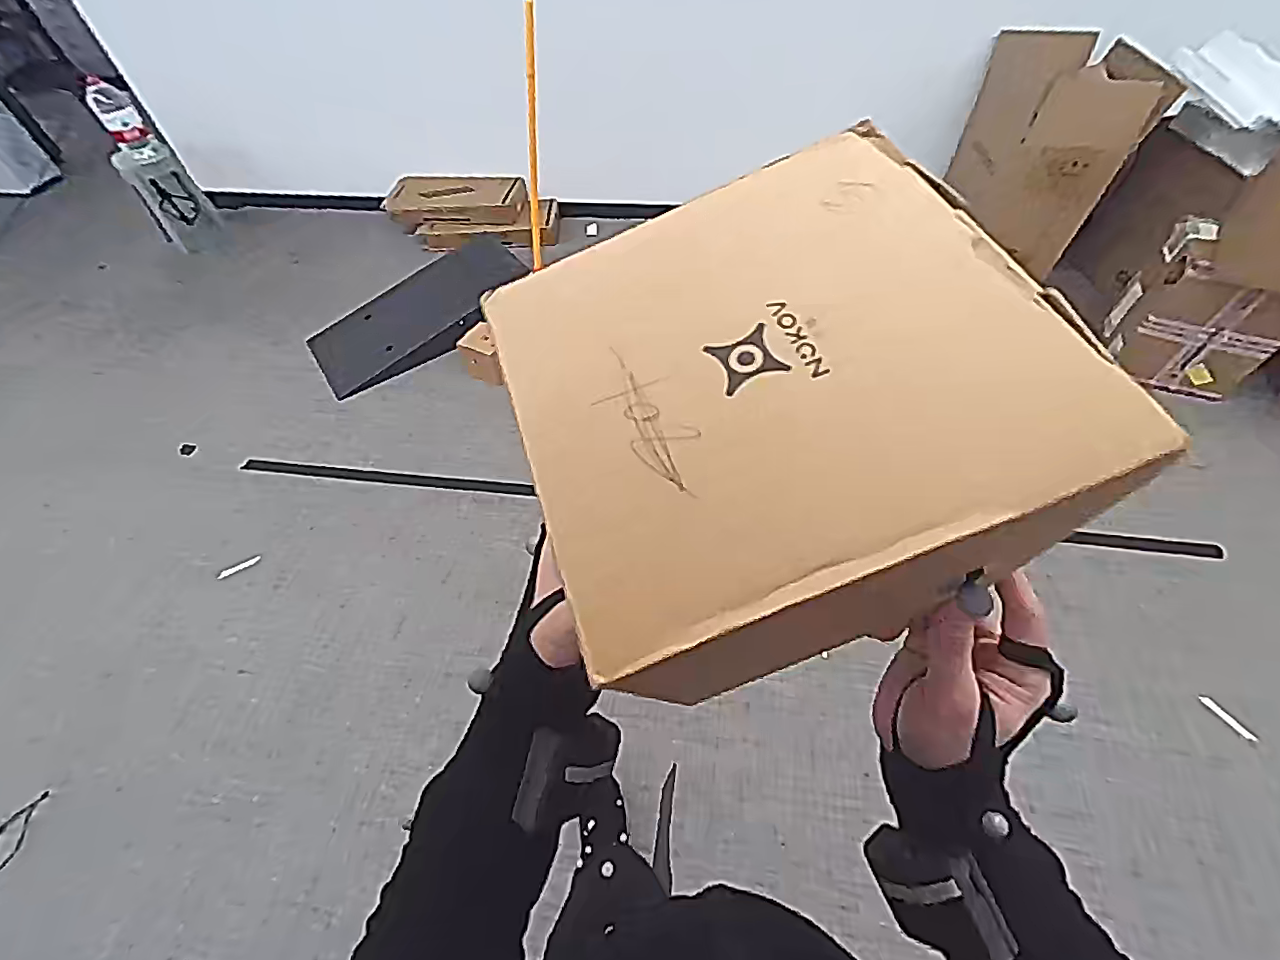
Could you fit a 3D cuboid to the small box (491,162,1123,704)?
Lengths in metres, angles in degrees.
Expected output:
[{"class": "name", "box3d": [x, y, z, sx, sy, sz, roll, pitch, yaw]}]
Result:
[{"class": "small box", "box3d": [0.057, -0.003, 0.269, 0.179, 0.176, 0.168, -25, 61, 4]}]
